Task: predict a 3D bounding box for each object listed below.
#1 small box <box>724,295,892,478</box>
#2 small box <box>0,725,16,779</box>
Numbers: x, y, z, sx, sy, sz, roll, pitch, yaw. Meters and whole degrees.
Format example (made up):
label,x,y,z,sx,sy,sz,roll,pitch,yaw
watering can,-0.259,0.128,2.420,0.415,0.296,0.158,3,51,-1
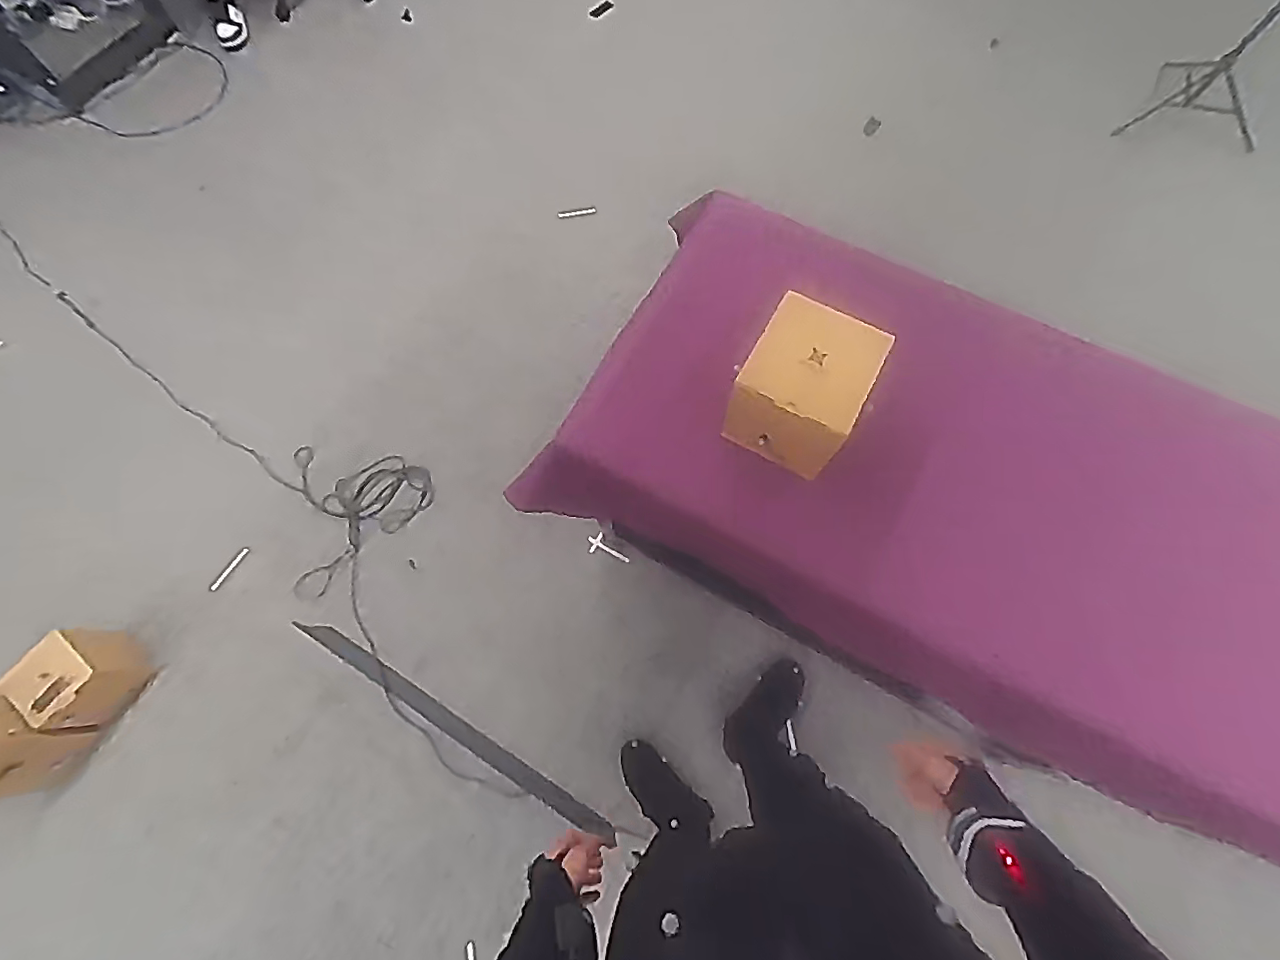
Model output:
label,x,y,z,sx,sy,sz,roll,pitch,yaw
small box,0.239,-0.132,0.813,0.168,0.176,0.179,28,73,10
small box,-1.526,0.619,1.162,0.168,0.176,0.179,33,75,12
